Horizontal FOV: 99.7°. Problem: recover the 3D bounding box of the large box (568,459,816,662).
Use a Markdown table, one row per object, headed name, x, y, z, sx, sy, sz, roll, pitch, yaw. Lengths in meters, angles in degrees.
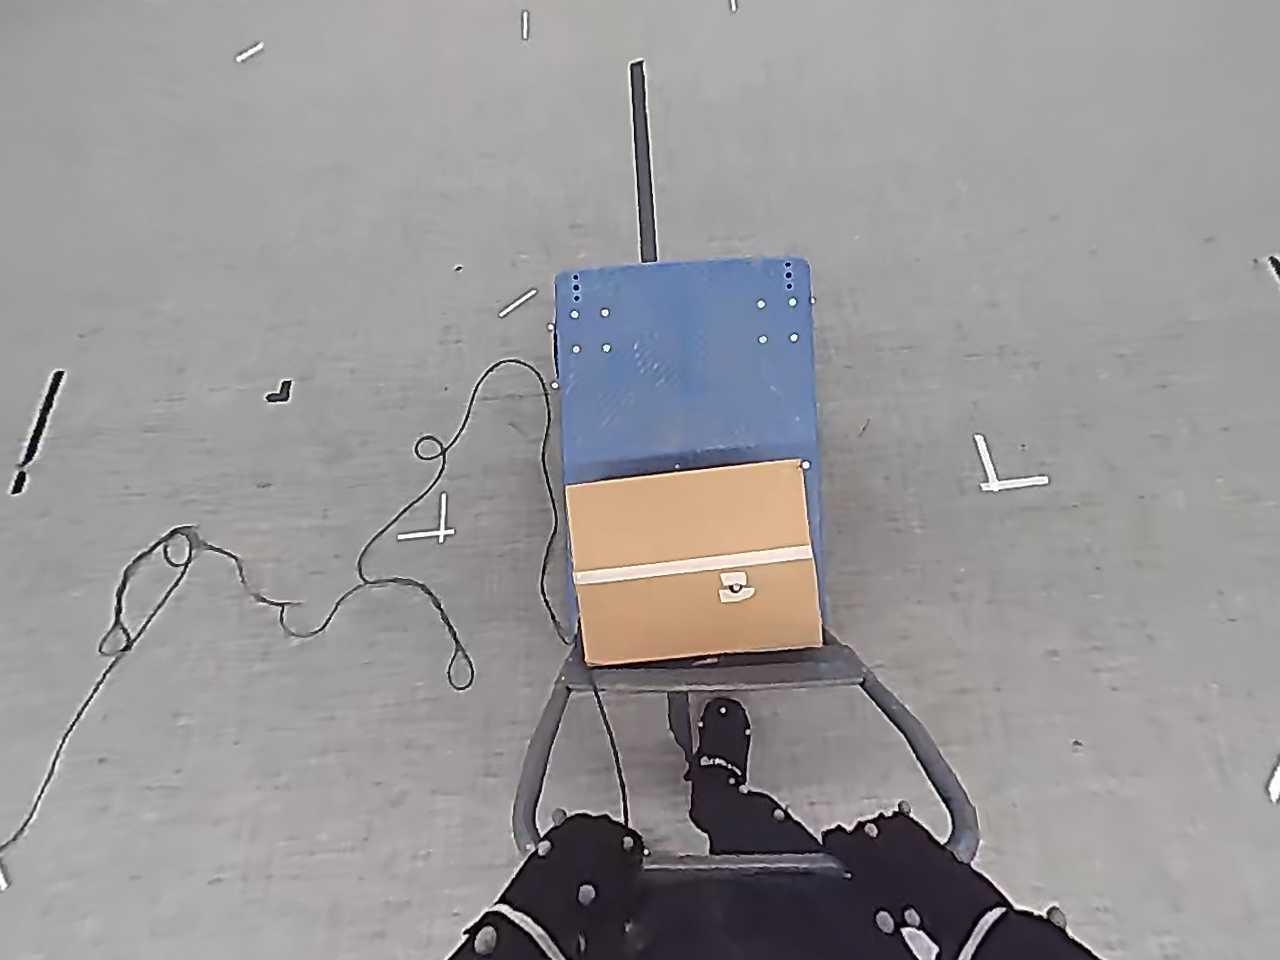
| name | x | y | z | sx | sy | sz | roll | pitch | yaw |
| --- | --- | --- | --- | --- | --- | --- | --- | --- | --- |
| large box | 0.091 | 0.142 | 1.085 | 0.408 | 0.320 | 0.320 | -7 | 91 | 1 |
